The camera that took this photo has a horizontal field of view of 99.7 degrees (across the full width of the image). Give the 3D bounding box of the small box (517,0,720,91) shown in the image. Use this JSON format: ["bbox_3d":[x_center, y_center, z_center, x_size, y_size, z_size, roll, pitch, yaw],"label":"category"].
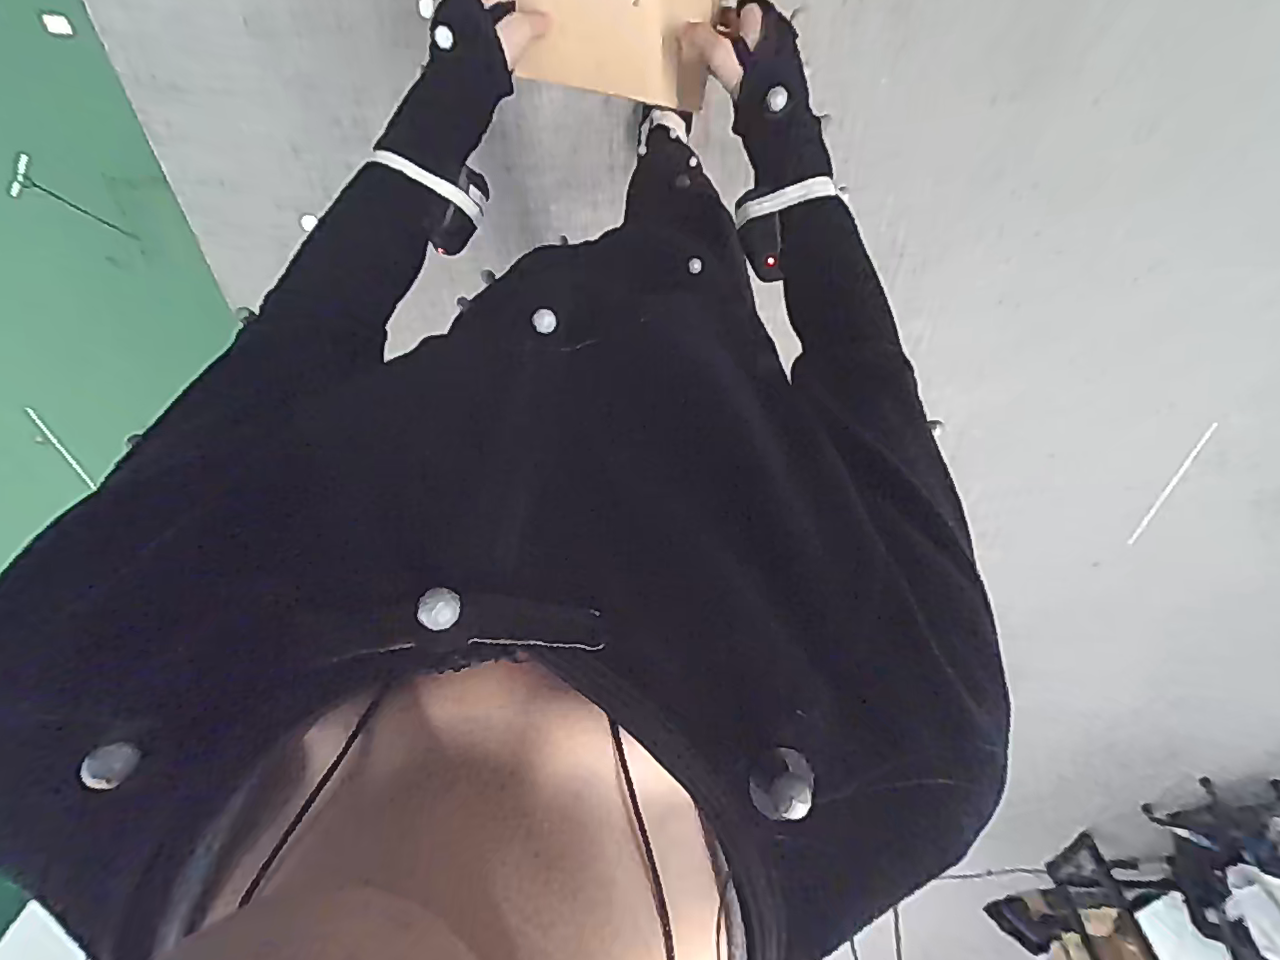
[{"bbox_3d":[-0.017,-0.485,0.512,0.179,0.176,0.168,4,128,-8],"label":"small box"}]
